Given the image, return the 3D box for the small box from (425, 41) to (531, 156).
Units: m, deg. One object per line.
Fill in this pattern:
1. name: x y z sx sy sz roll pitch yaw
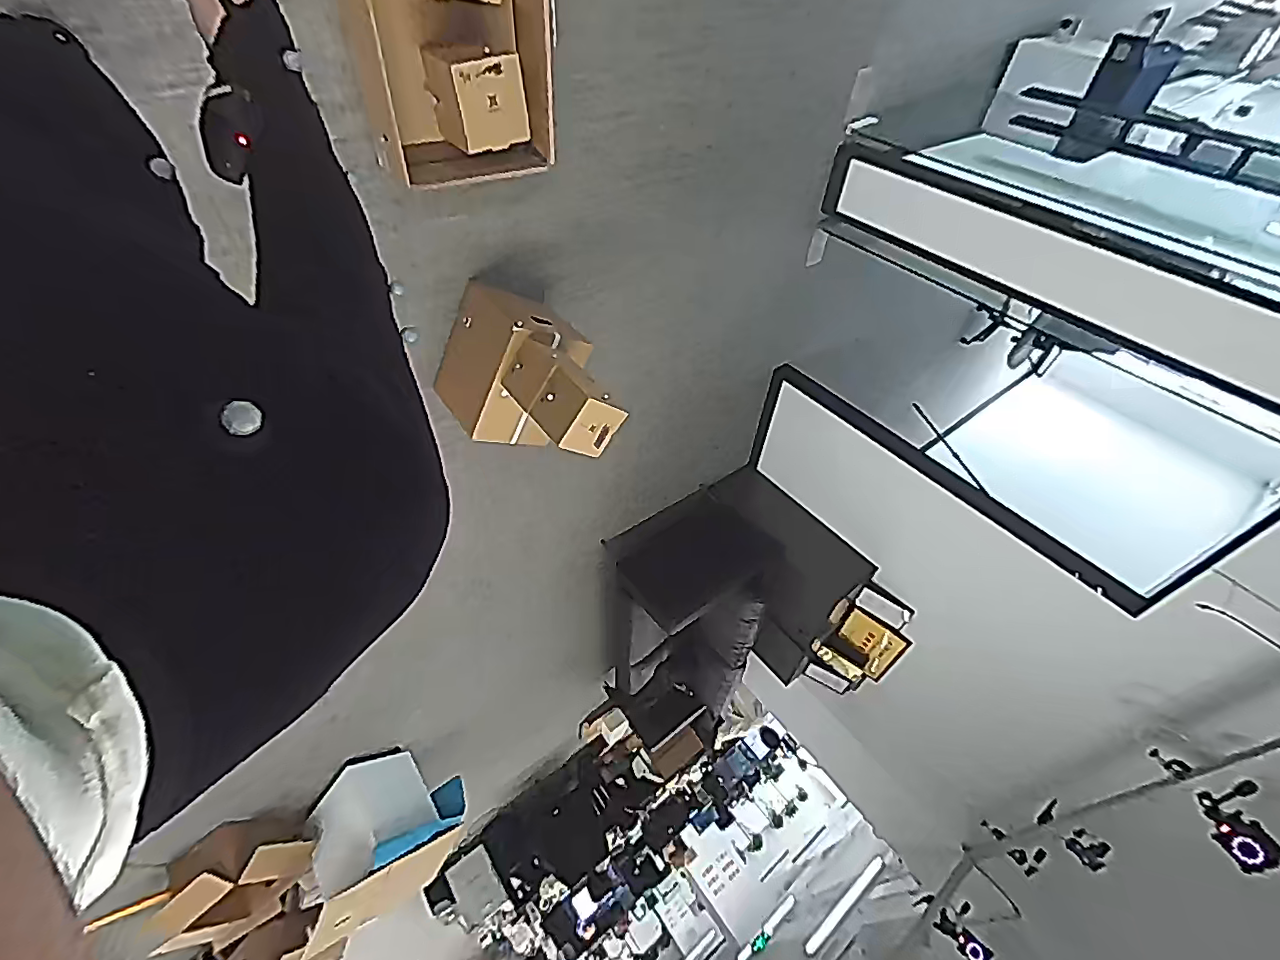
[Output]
1. small box: -0.379 -0.900 1.274 0.168 0.176 0.179 -30 146 -23

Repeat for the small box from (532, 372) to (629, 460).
1. small box: -0.172 -0.184 1.544 0.179 0.176 0.168 14 116 -53
